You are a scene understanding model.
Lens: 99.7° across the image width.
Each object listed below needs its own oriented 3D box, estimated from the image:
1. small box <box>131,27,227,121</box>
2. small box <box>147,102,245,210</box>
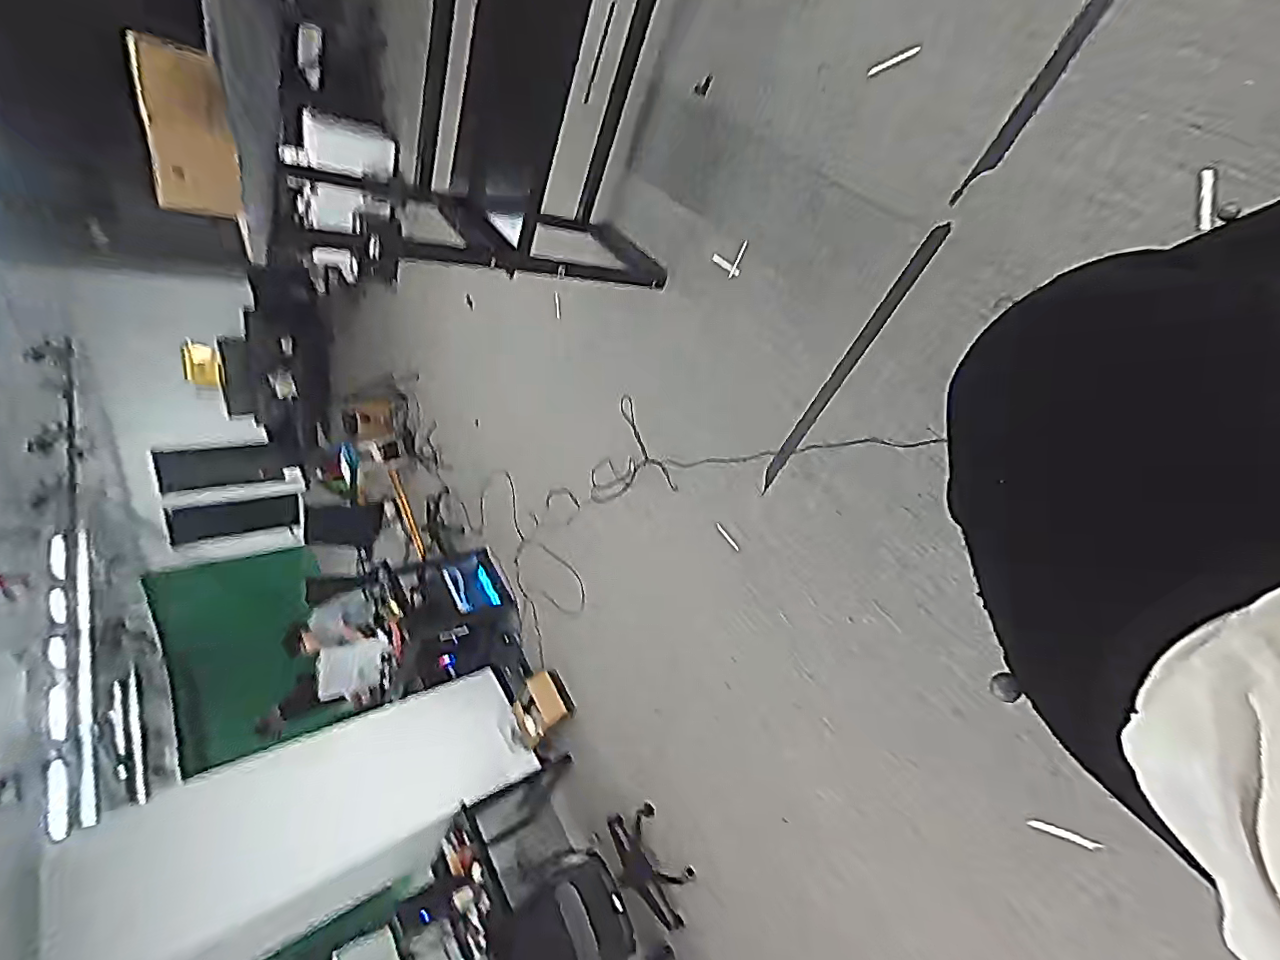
[{"bbox_3d":[-1.219,-1.050,1.436,0.168,0.176,0.179,49,131,32],"label":"small box"},{"bbox_3d":[-1.094,-0.794,1.338,0.168,0.176,0.179,49,131,34],"label":"small box"}]
